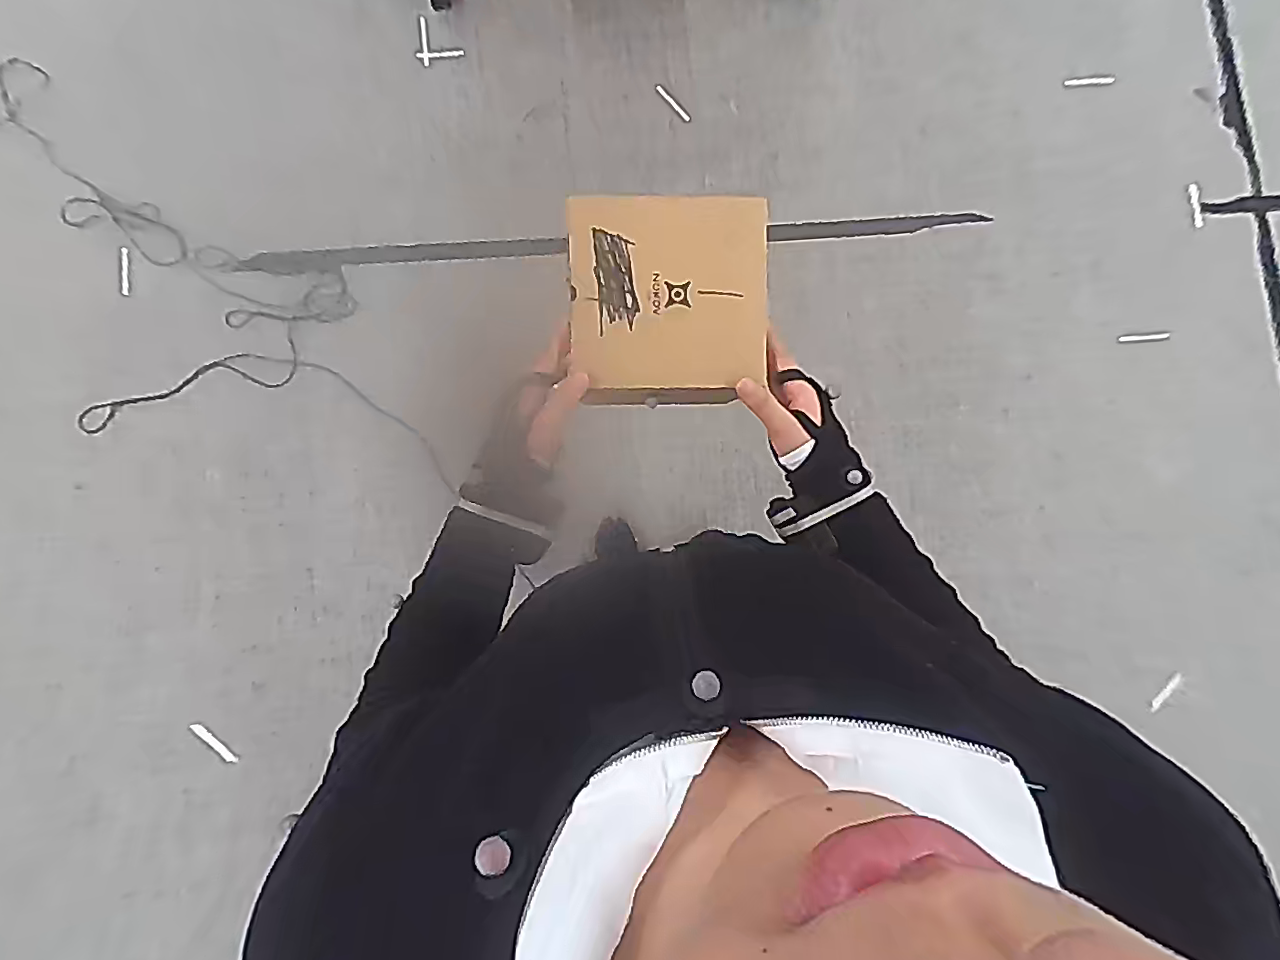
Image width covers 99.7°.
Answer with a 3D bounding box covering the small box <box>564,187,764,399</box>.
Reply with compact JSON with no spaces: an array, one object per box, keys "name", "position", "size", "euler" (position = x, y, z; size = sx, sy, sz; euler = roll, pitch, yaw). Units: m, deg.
[{"name":"small box","position":[0.019,-0.173,0.551],"size":[0.179,0.176,0.168],"euler":[-1,93,-3]}]
